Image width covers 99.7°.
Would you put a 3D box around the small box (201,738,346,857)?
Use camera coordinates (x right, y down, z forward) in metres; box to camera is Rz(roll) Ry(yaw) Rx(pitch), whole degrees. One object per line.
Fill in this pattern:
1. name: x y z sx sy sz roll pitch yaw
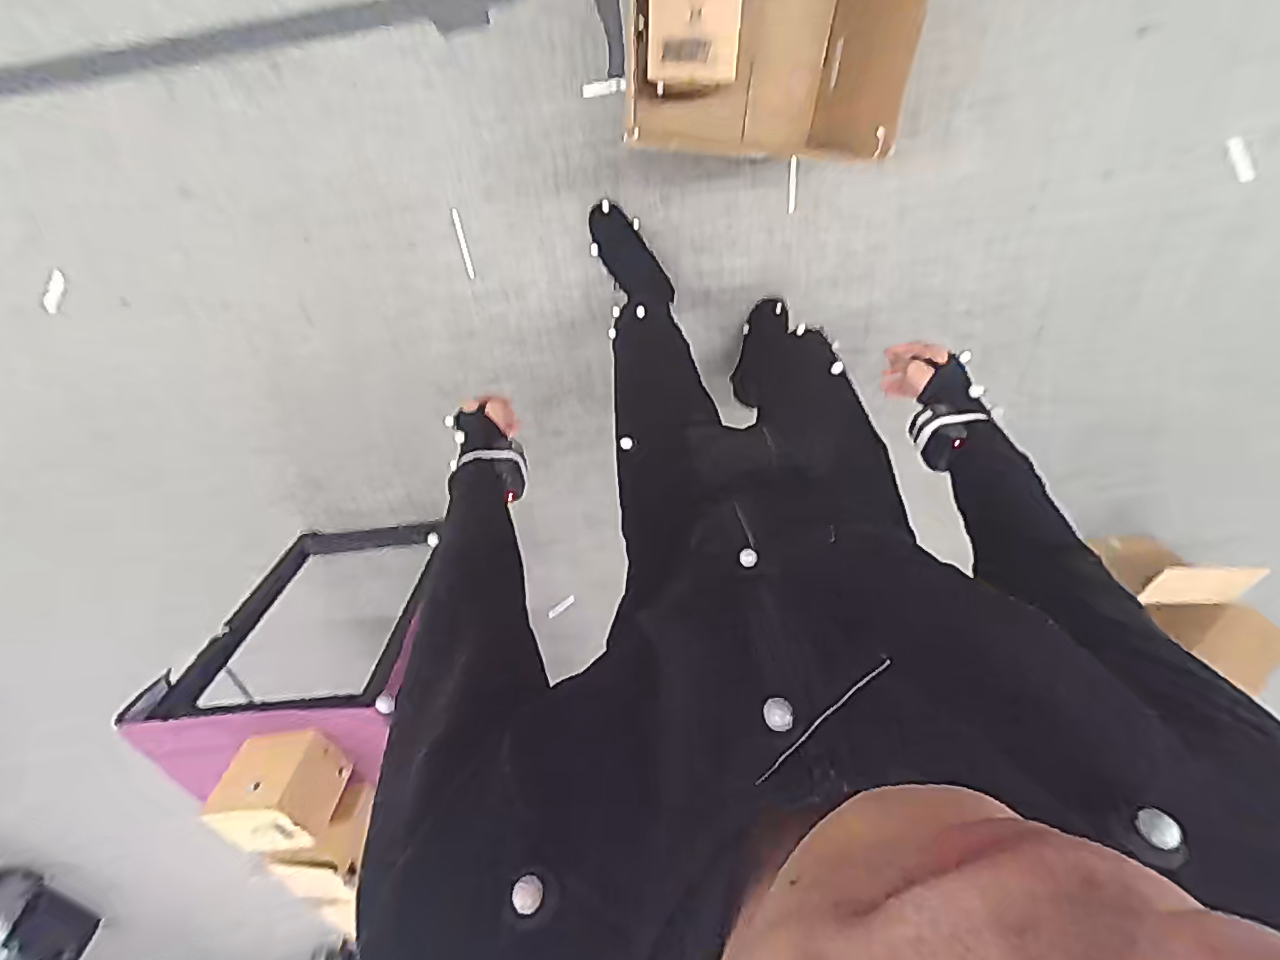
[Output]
1. small box: -0.772 0.682 1.171 0.179 0.176 0.168 -10 122 8

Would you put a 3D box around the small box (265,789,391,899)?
1. small box: -0.730 0.864 1.288 0.179 0.176 0.168 -5 123 4
